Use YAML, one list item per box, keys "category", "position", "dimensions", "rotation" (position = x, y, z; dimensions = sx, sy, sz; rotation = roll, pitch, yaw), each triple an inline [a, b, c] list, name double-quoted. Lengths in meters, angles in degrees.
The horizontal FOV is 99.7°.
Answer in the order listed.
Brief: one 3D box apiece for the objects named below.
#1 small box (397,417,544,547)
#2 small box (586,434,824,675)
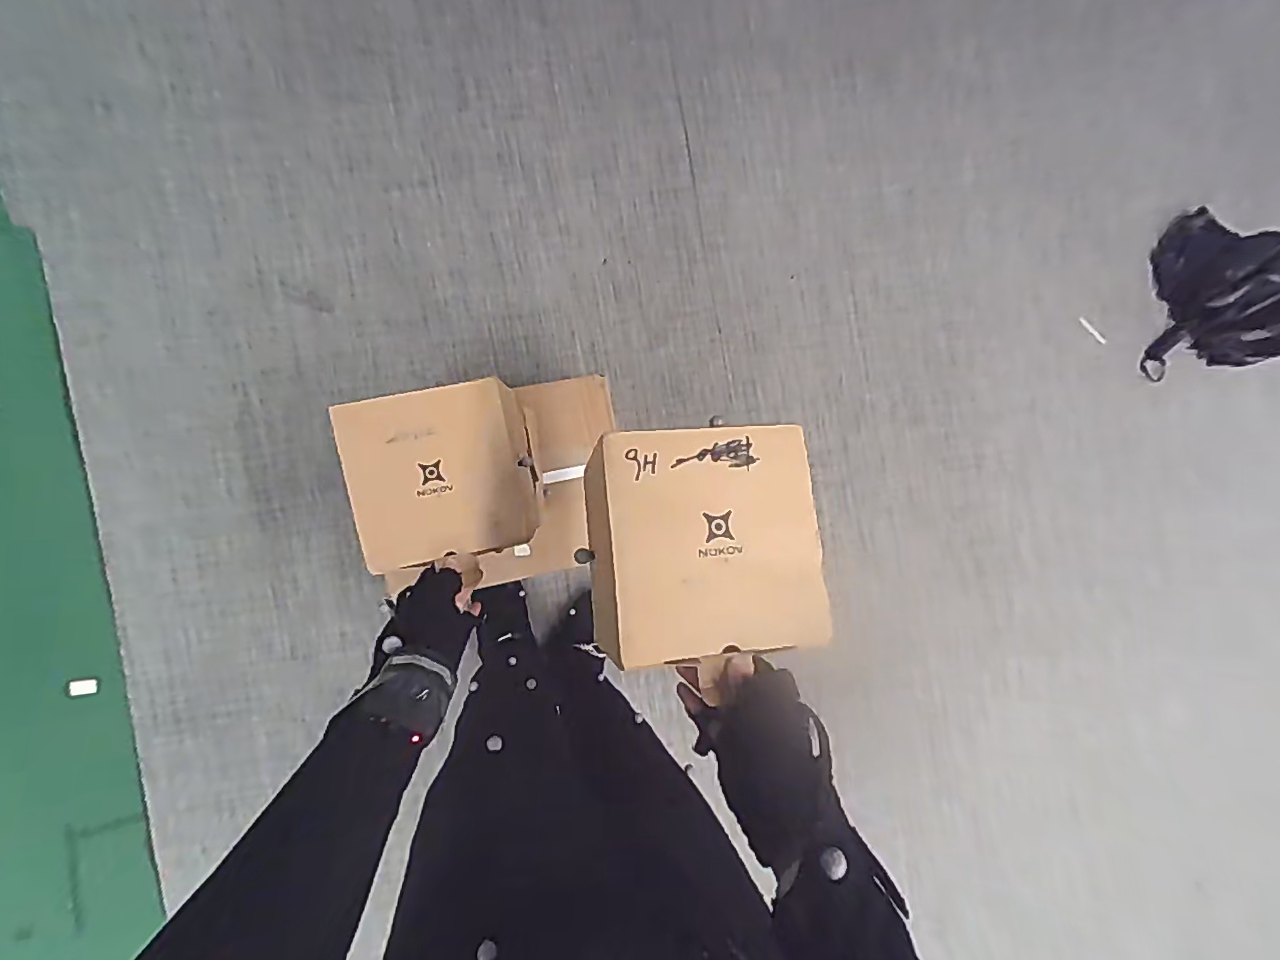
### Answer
- category: "small box"
  position: [-0.233, -0.003, 0.788]
  dimensions: [0.179, 0.176, 0.168]
  rotation: [-4, 92, -7]
- category: "small box"
  position: [0.043, 0.064, 0.493]
  dimensions: [0.168, 0.176, 0.179]
  rotation: [-4, 81, -12]
